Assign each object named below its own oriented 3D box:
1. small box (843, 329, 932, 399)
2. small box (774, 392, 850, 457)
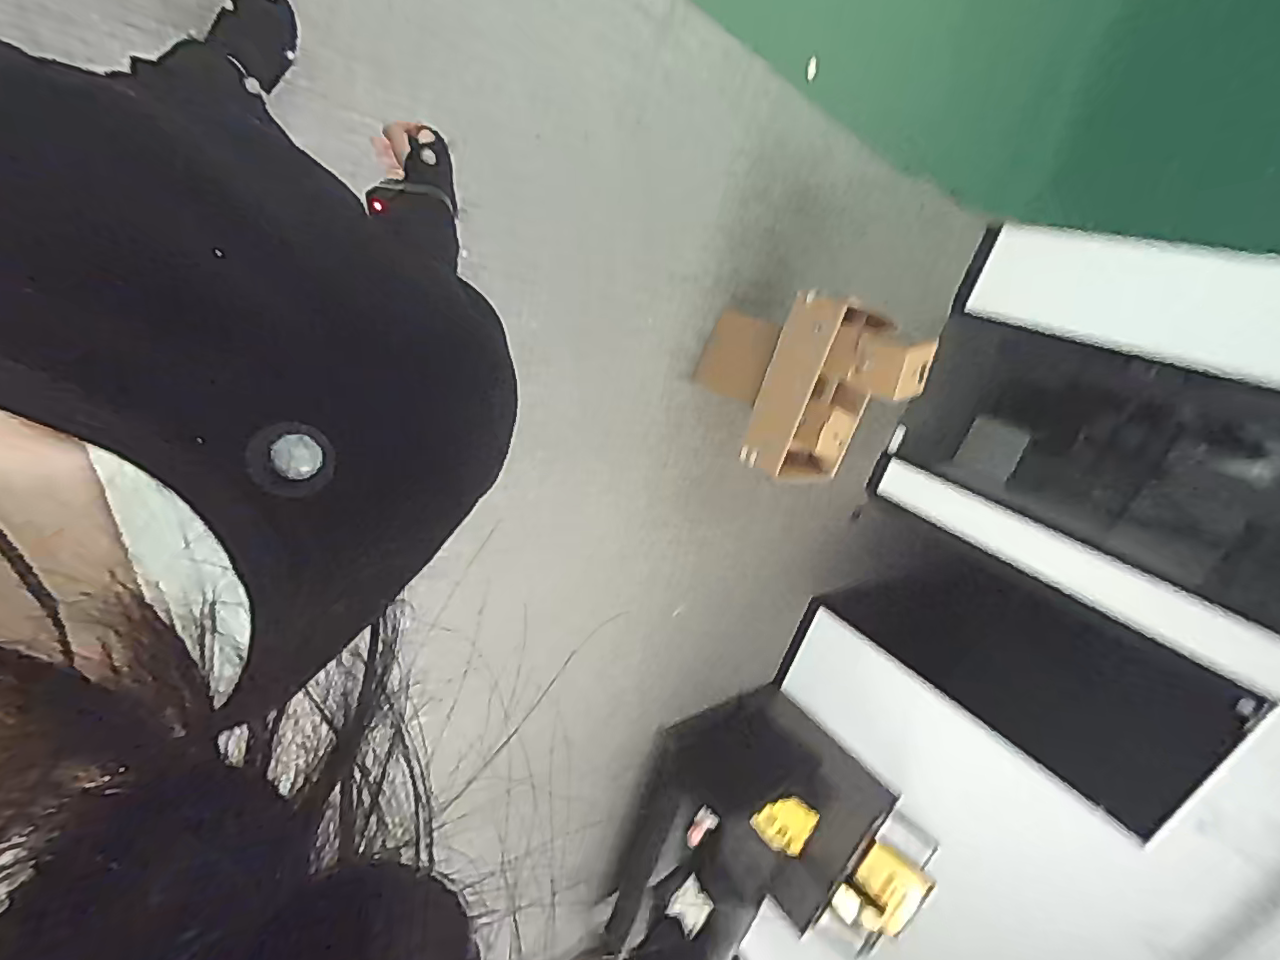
[{"bbox_3d":[0.789,-0.377,1.734,0.179,0.176,0.168,-19,127,-32],"label":"small box"},{"bbox_3d":[0.612,-0.201,1.937,0.179,0.176,0.168,12,107,-46],"label":"small box"}]
